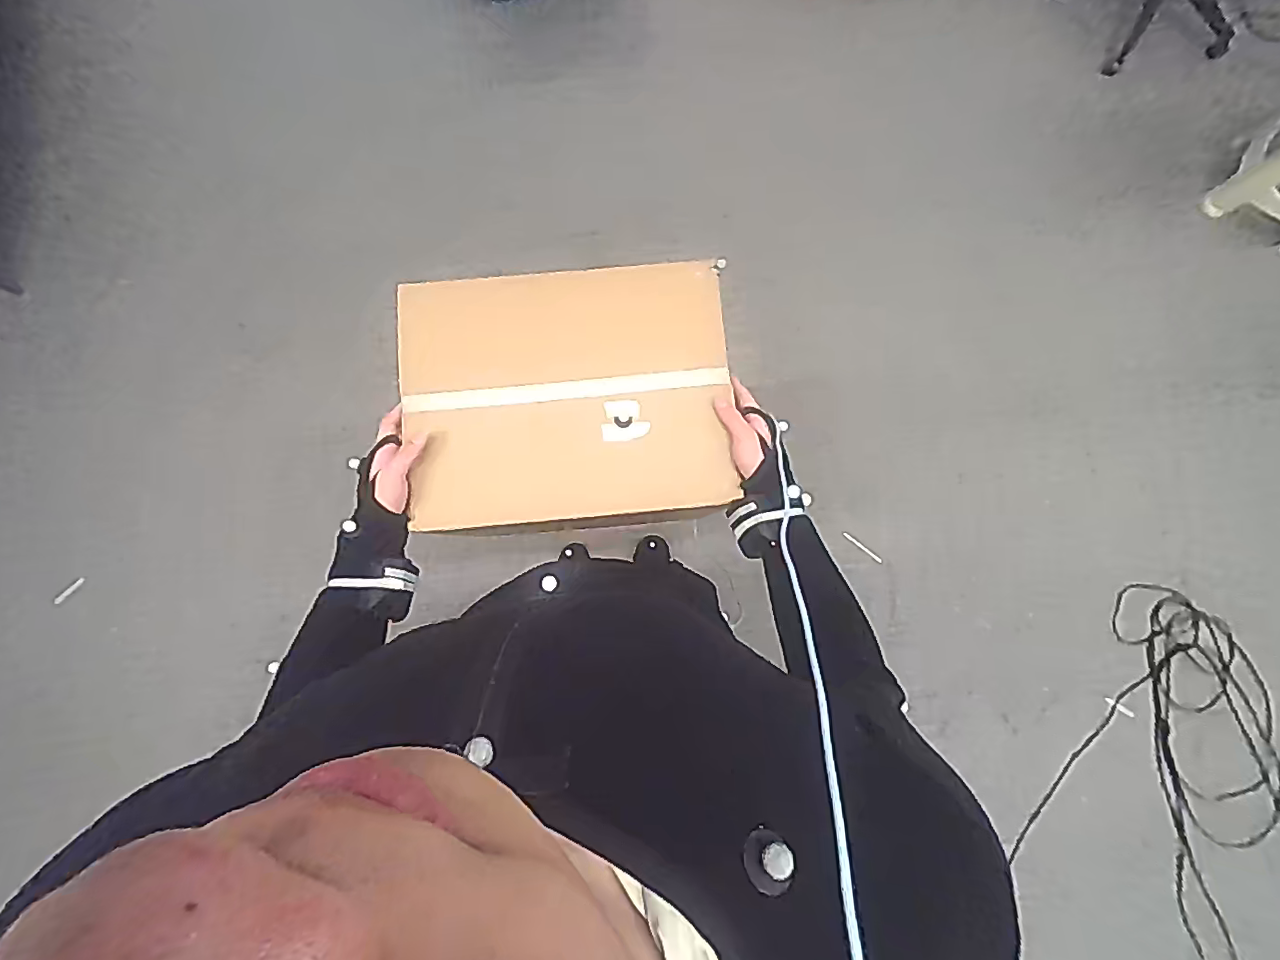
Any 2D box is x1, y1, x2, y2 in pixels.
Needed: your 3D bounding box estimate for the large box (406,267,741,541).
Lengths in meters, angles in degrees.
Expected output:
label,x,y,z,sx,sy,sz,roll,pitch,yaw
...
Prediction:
label,x,y,z,sx,sy,sz,roll,pitch,yaw
large box,-0.093,-0.086,0.821,0.408,0.320,0.320,-5,82,-3
